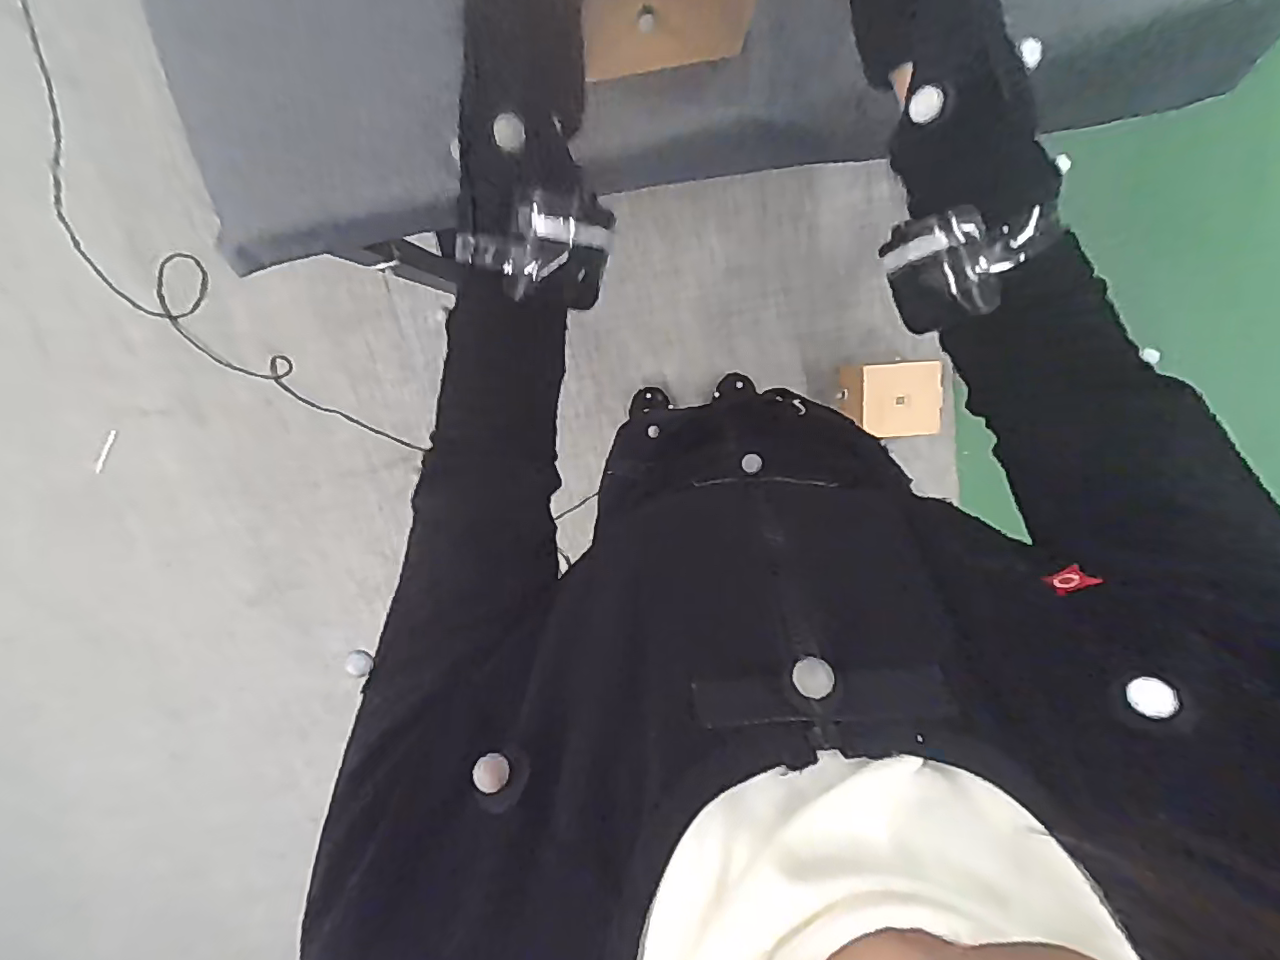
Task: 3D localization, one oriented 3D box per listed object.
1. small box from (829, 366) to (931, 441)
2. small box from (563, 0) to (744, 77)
[{"bbox_3d":[0.571,-0.189,1.305,0.179,0.176,0.168,-3,101,3],"label":"small box"},{"bbox_3d":[0.006,-0.513,0.500,0.179,0.176,0.168,-8,101,3],"label":"small box"}]
